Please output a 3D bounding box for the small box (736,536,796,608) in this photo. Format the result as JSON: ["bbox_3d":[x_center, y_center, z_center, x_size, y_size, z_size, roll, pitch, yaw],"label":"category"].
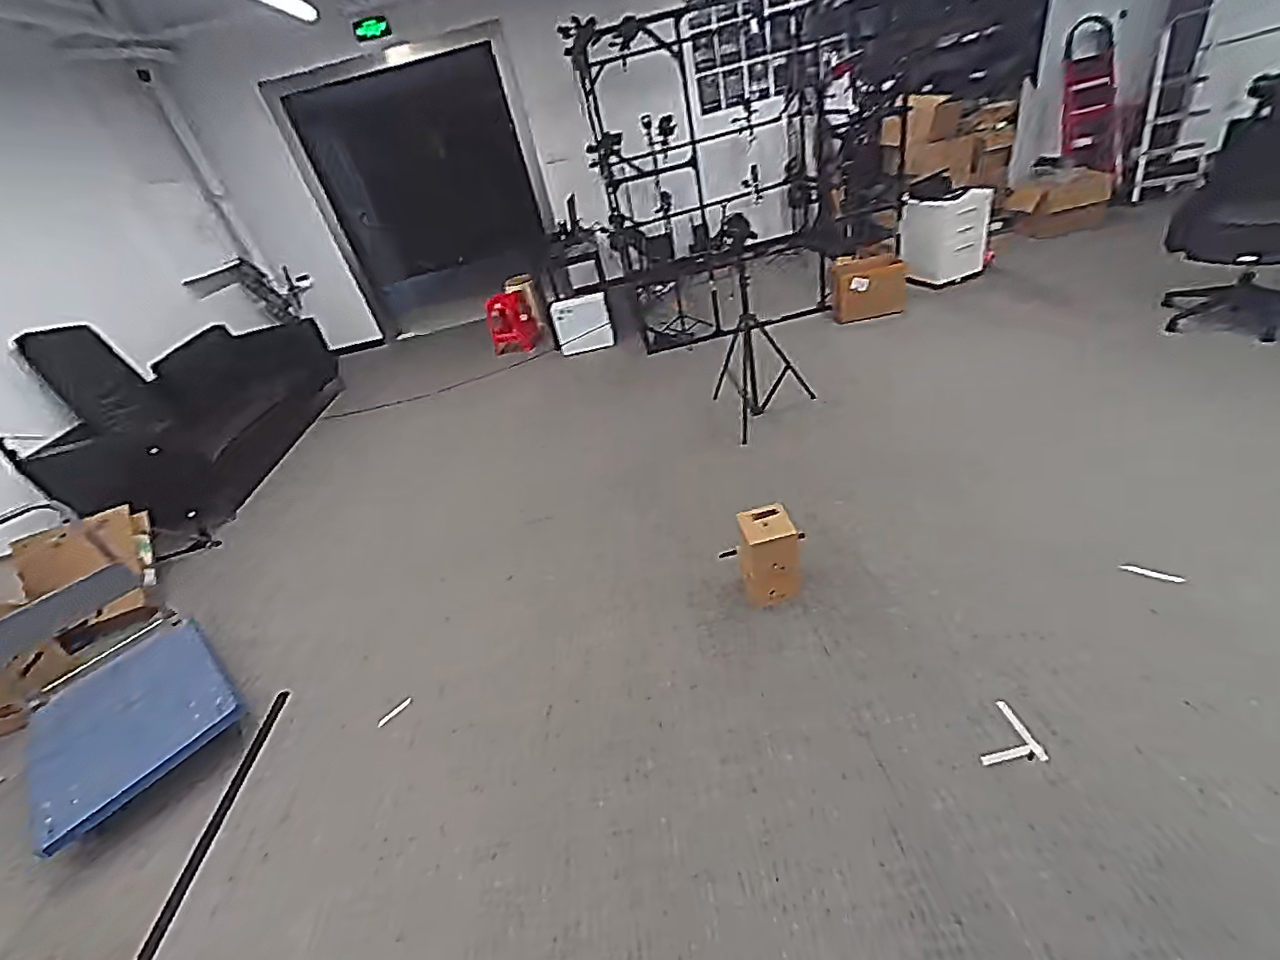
[{"bbox_3d":[0.469,0.343,2.012,0.168,0.176,0.179,-17,33,-3],"label":"small box"}]
